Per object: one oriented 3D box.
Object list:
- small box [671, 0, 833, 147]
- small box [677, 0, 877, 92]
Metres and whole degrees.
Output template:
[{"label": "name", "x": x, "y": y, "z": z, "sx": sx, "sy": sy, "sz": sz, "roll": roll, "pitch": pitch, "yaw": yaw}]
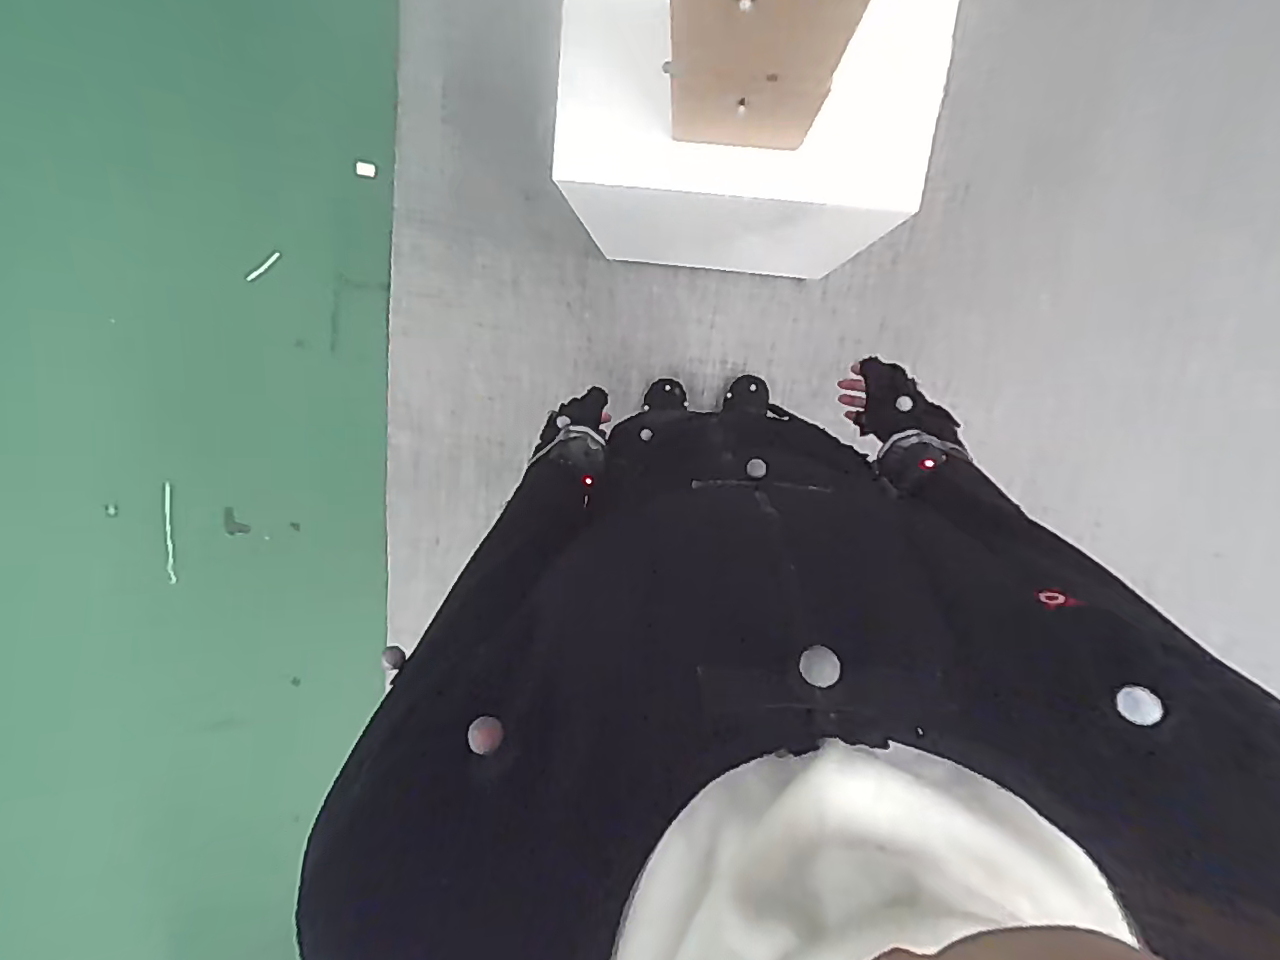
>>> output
[{"label": "small box", "x": 0.134, "y": -0.522, "z": 0.646, "sx": 0.179, "sy": 0.176, "sz": 0.168, "roll": 6, "pitch": 102, "yaw": 3}, {"label": "small box", "x": 0.123, "y": -0.494, "z": 0.488, "sx": 0.168, "sy": 0.176, "sz": 0.179, "roll": 5, "pitch": 103, "yaw": 3}]
